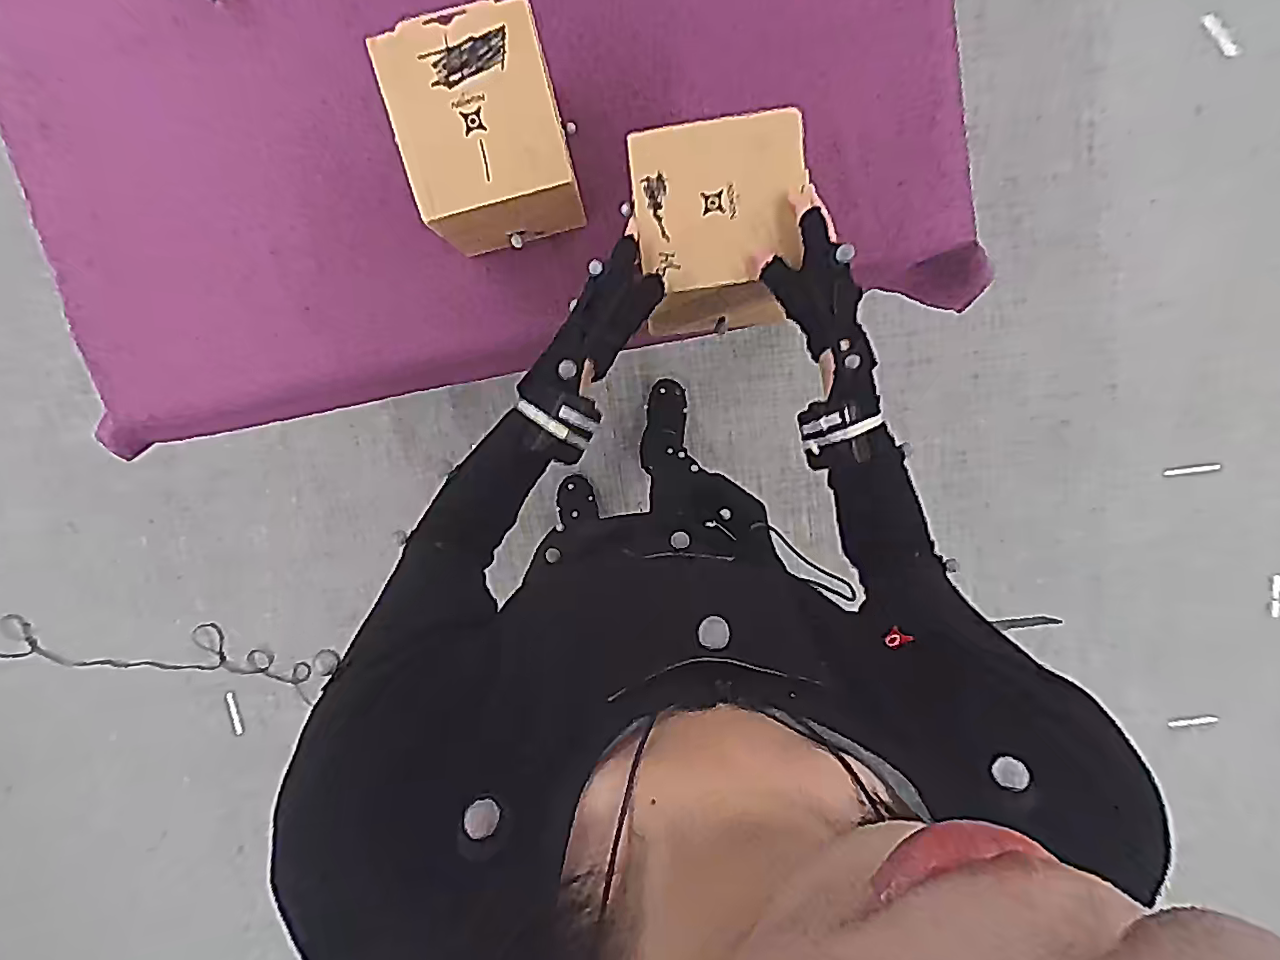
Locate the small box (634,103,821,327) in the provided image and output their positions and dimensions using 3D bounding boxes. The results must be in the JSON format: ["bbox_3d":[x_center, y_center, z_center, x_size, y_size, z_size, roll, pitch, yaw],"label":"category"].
[{"bbox_3d":[0.089,-0.282,0.612,0.179,0.176,0.168,-5,90,3],"label":"small box"}]

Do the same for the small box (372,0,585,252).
[{"bbox_3d":[-0.166,-0.385,0.618,0.168,0.176,0.179,-14,101,2],"label":"small box"}]
